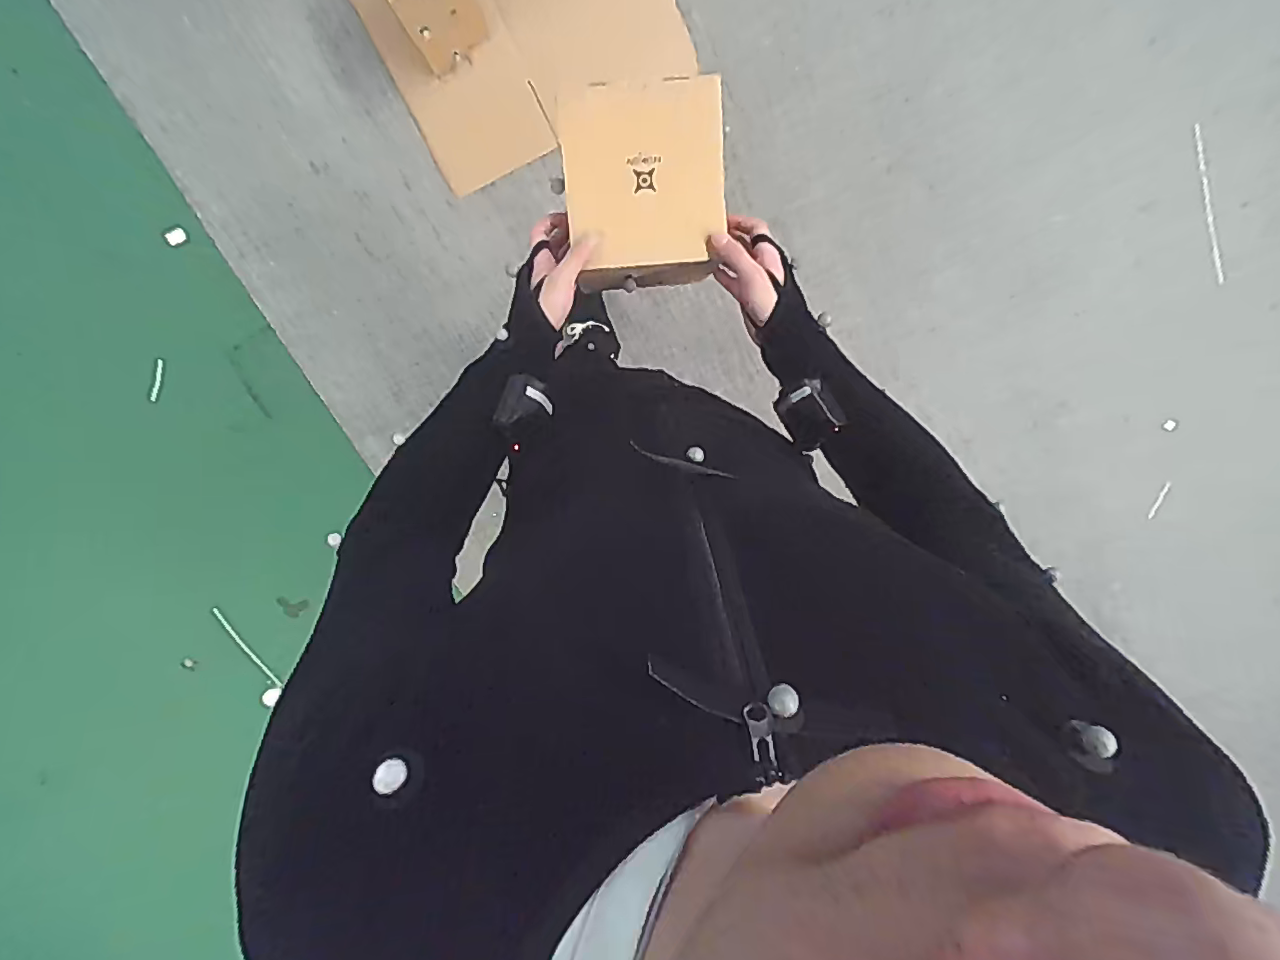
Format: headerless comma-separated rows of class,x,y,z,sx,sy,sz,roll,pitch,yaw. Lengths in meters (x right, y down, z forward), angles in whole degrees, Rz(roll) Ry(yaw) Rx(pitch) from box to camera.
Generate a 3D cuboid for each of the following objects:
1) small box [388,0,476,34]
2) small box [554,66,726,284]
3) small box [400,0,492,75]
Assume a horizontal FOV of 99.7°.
small box,-0.435,-1.003,1.028,0.168,0.176,0.179,-30,106,4
small box,0.002,-0.328,0.619,0.168,0.176,0.179,-5,101,0
small box,-0.450,-1.049,1.185,0.168,0.176,0.179,-33,107,4
